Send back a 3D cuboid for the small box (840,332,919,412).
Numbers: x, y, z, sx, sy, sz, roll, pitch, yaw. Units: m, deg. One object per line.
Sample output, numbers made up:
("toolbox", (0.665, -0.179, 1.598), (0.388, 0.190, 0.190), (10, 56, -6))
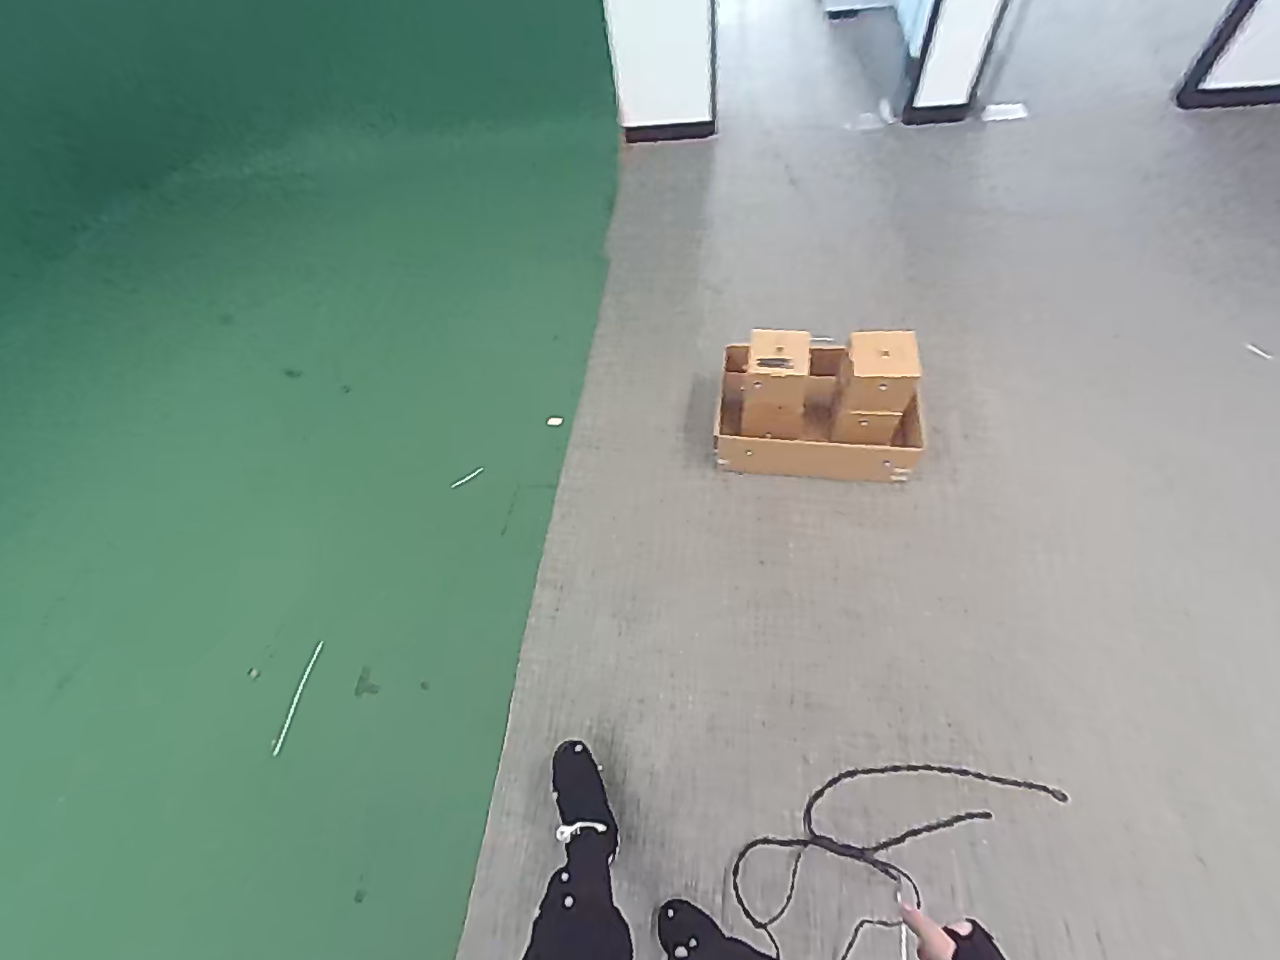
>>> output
("small box", (0.686, -0.310, 1.574), (0.179, 0.176, 0.168), (2, 62, 9))
